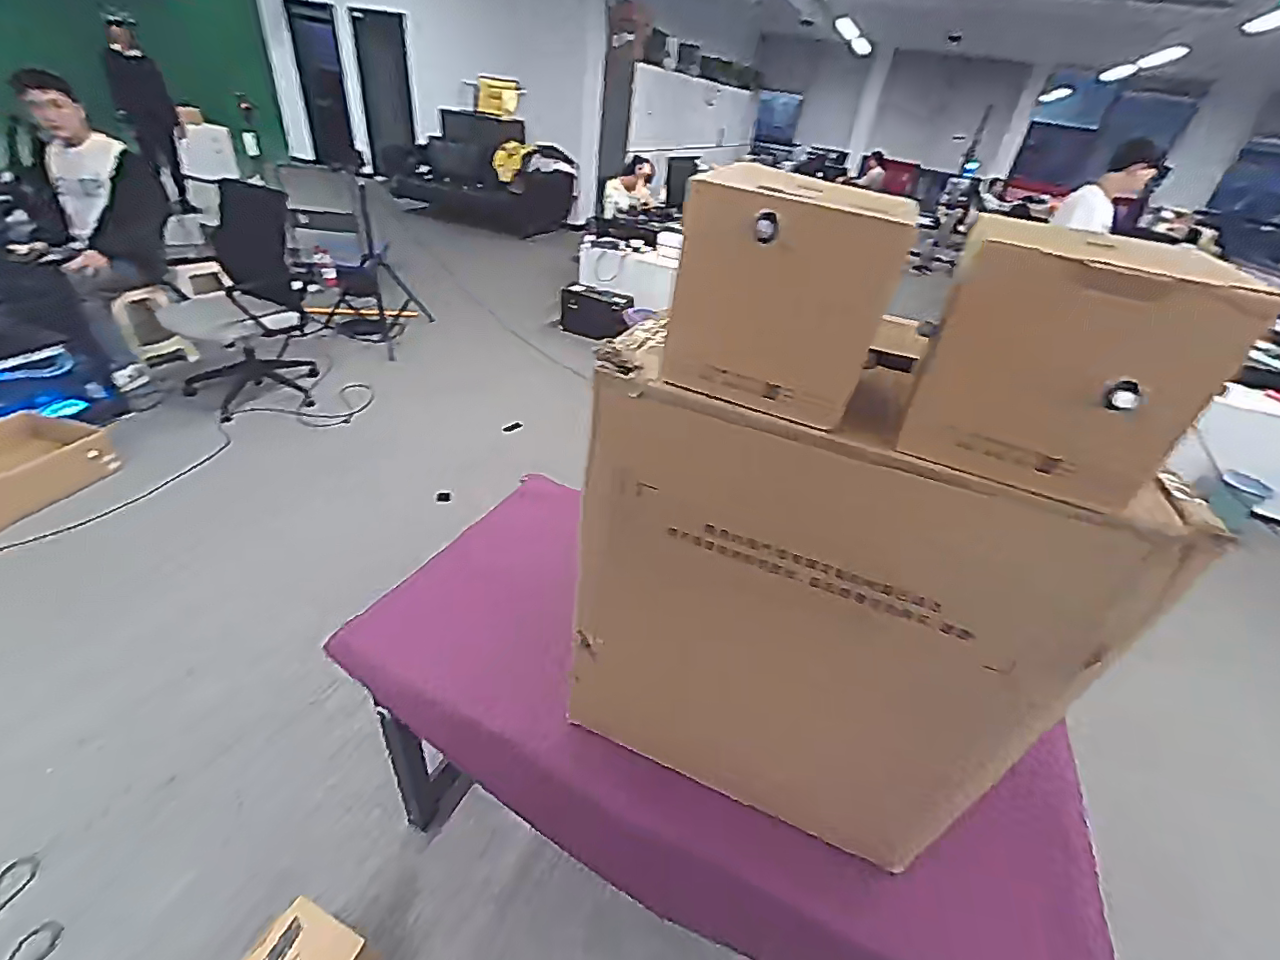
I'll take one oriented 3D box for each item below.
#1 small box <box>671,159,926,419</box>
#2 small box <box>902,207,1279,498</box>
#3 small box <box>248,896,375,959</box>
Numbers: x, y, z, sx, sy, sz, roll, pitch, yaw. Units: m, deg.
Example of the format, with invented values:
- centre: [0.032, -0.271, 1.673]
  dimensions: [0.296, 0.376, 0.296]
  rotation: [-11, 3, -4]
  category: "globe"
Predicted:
- centre: [0.138, -0.180, 0.492]
  dimensions: [0.168, 0.176, 0.179]
  rotation: [19, 35, 14]
  category: "small box"
- centre: [0.331, -0.111, 0.441]
  dimensions: [0.168, 0.176, 0.179]
  rotation: [21, 36, 18]
  category: "small box"
- centre: [-0.651, 0.973, 1.055]
  dimensions: [0.179, 0.176, 0.168]
  rotation: [20, 37, 15]
  category: "small box"
